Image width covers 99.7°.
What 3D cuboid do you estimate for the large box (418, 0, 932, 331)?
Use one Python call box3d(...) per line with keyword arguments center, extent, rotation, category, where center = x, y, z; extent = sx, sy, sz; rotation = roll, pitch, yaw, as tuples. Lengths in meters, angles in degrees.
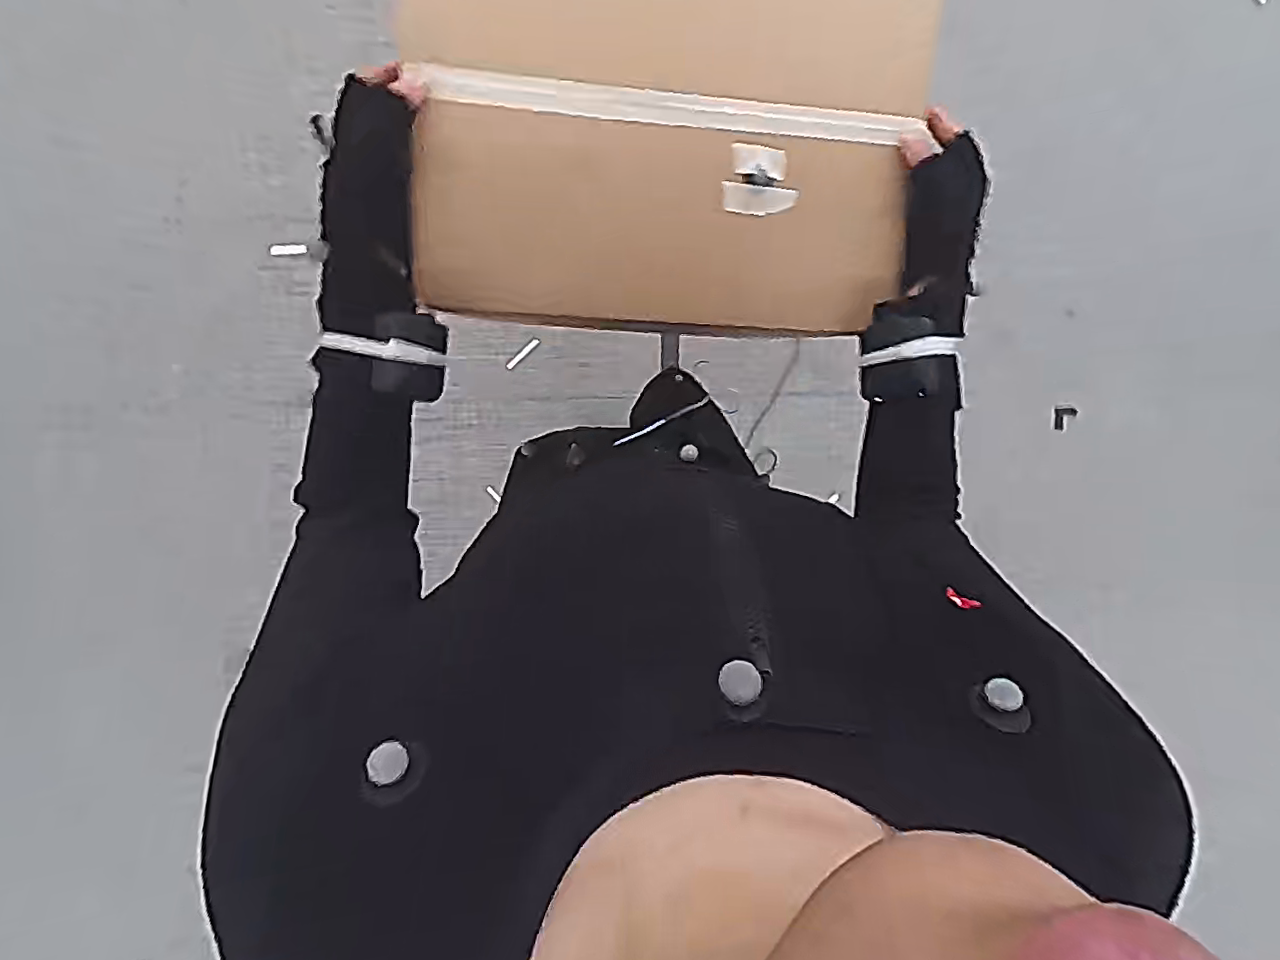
box3d(center=(0.010, -0.329, 0.570), extent=(0.408, 0.320, 0.320), rotation=(1, 105, -9), category="large box")
